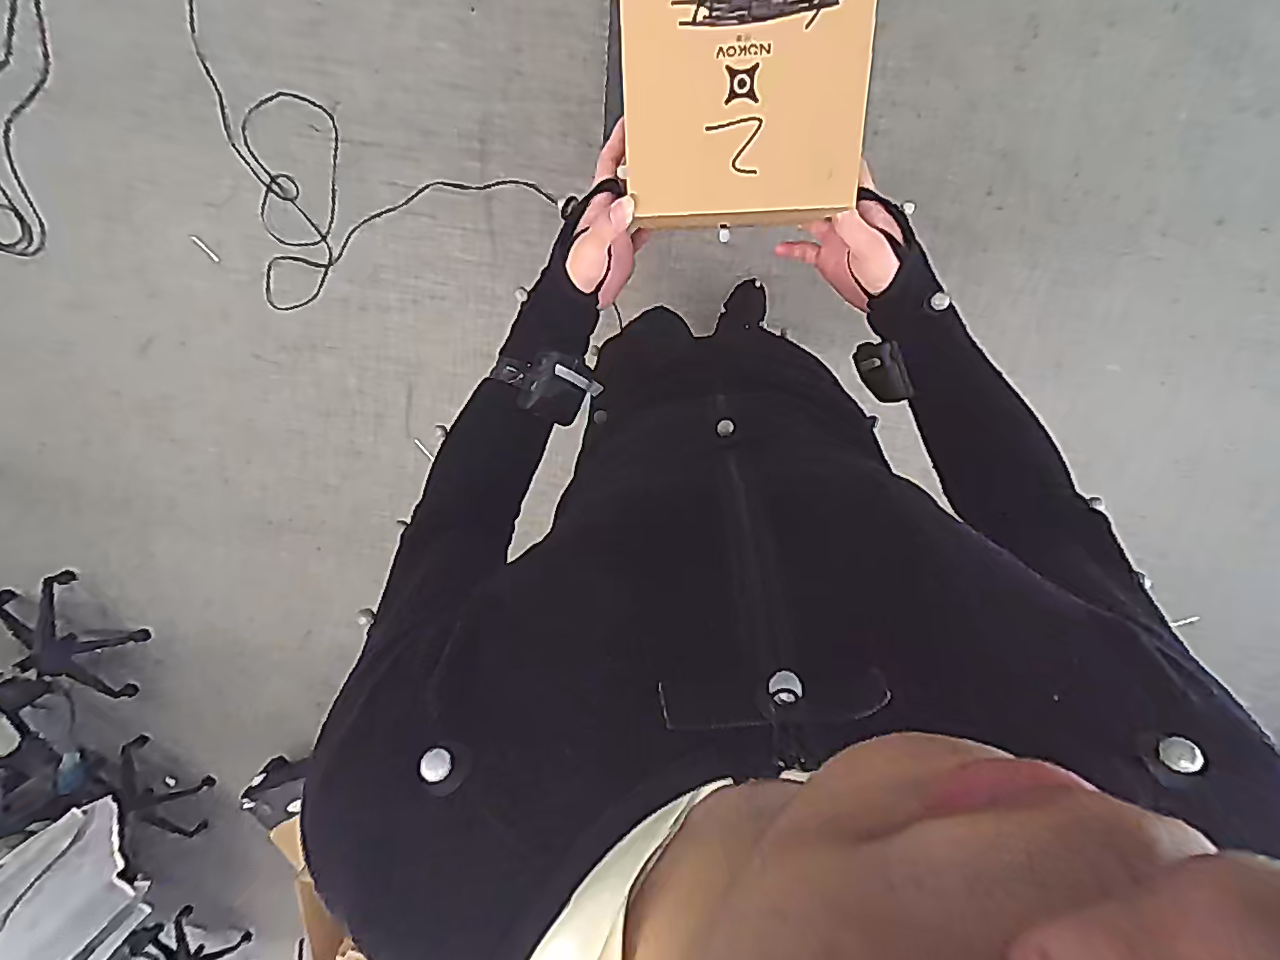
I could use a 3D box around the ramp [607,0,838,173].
[{"bbox_3d":[0.201,-1.207,1.079,0.509,0.206,0.991,8,113,4],"label":"ramp"}]
